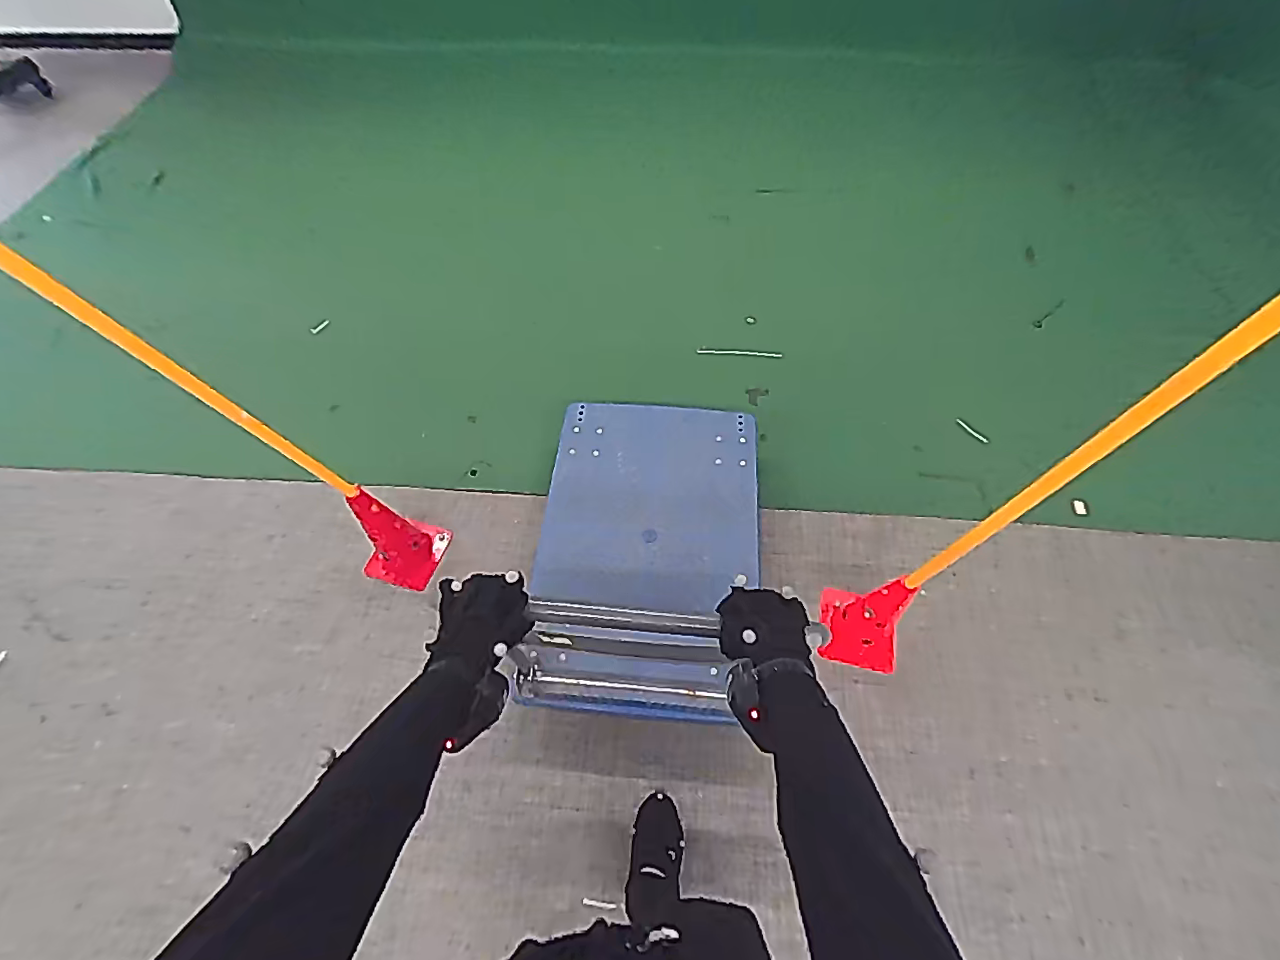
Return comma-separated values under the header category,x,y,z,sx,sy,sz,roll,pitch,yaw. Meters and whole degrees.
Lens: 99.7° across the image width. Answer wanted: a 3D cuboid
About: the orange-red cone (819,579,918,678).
category,x,y,z,sx,sy,sz,roll,pitch,yaw
orange-red cone,0.584,0.324,1.307,0.198,0.360,0.199,12,60,9
